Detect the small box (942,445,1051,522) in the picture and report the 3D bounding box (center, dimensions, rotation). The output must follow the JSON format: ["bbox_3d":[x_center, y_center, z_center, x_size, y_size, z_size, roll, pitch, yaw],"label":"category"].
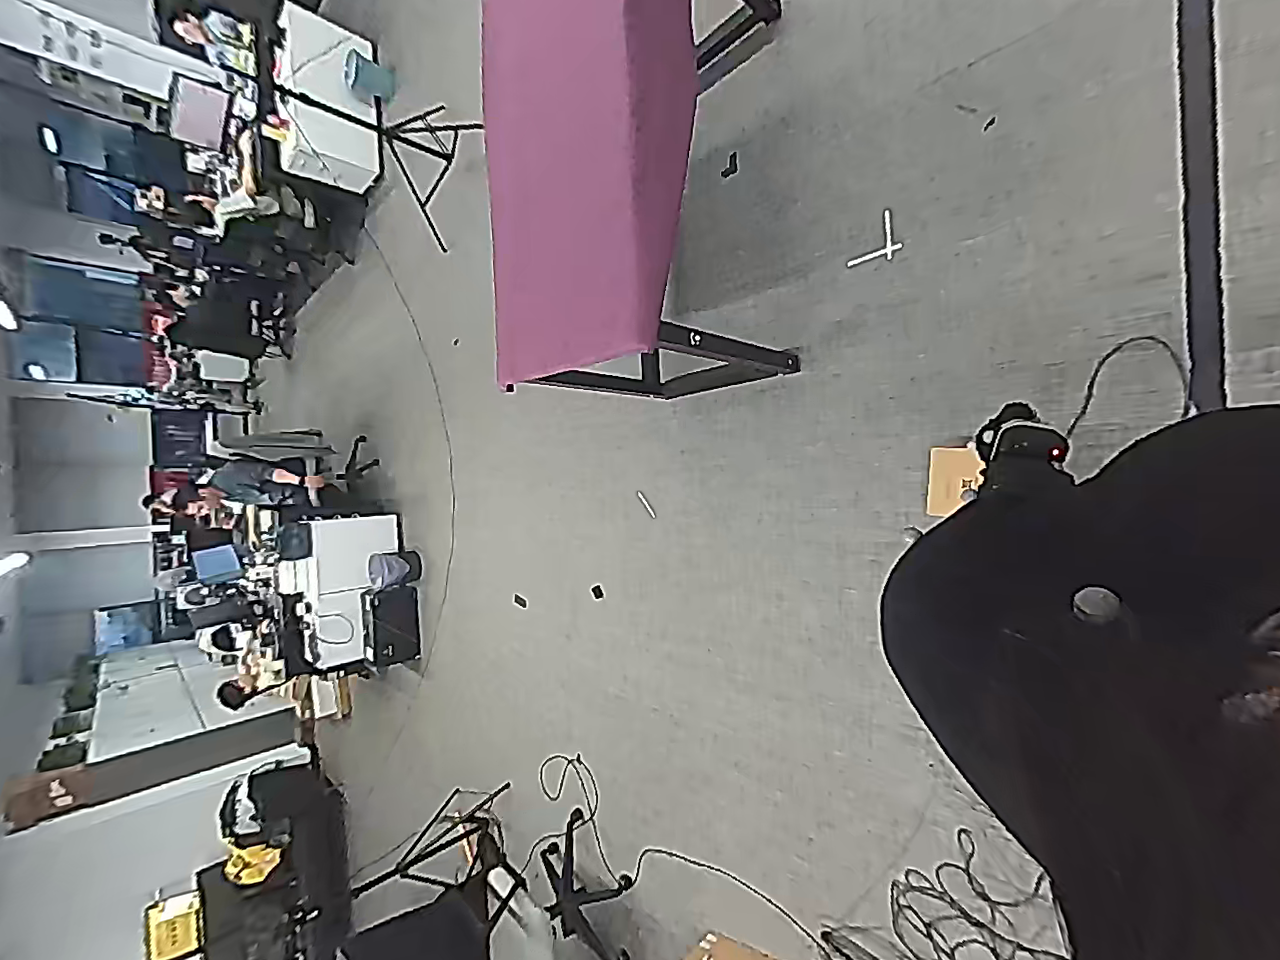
[{"bbox_3d":[0.839,0.003,1.269,0.179,0.176,0.168,6,94,50],"label":"small box"}]
